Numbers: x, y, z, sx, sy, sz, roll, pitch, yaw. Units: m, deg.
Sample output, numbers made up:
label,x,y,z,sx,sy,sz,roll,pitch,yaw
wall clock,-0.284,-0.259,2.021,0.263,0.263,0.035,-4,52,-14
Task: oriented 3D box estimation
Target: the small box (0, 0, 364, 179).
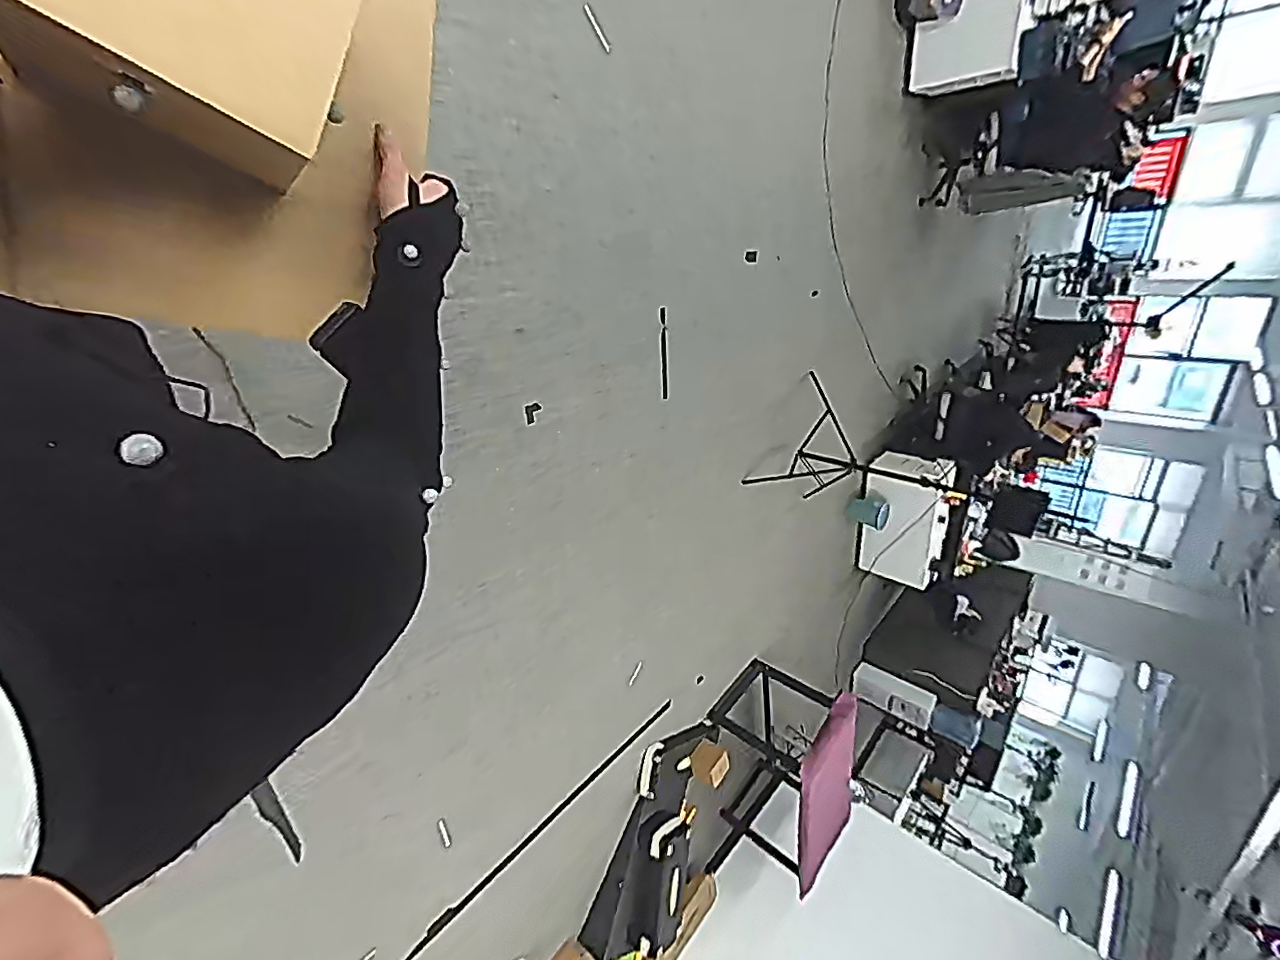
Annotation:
label,x,y,z,sx,sy,sz,roll,pitch,yaw
small box,-0.316,-0.341,0.381,0.179,0.176,0.168,17,94,-40
